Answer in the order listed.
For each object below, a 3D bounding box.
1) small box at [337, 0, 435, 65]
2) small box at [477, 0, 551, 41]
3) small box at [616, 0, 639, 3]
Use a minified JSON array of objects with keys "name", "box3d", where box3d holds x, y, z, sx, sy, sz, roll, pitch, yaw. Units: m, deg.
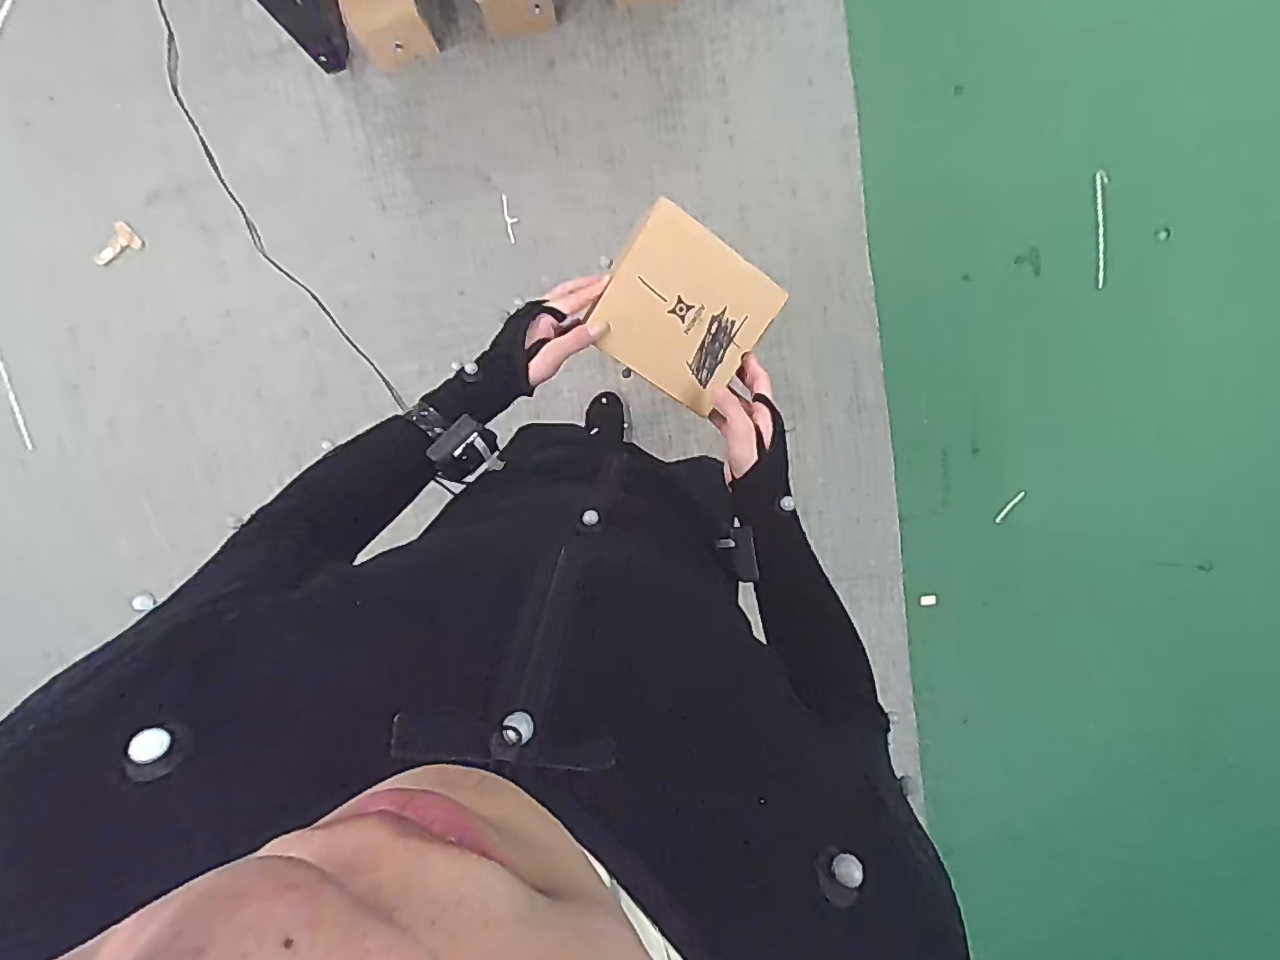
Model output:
[{"name":"small box","box3d":[-0.638,-1.177,1.339,0.168,0.176,0.179,-19,98,2]},{"name":"small box","box3d":[-0.328,-1.245,1.335,0.179,0.176,0.168,-17,98,3]},{"name":"small box","box3d":[0.008,-1.326,1.328,0.179,0.176,0.168,-10,98,0]}]
